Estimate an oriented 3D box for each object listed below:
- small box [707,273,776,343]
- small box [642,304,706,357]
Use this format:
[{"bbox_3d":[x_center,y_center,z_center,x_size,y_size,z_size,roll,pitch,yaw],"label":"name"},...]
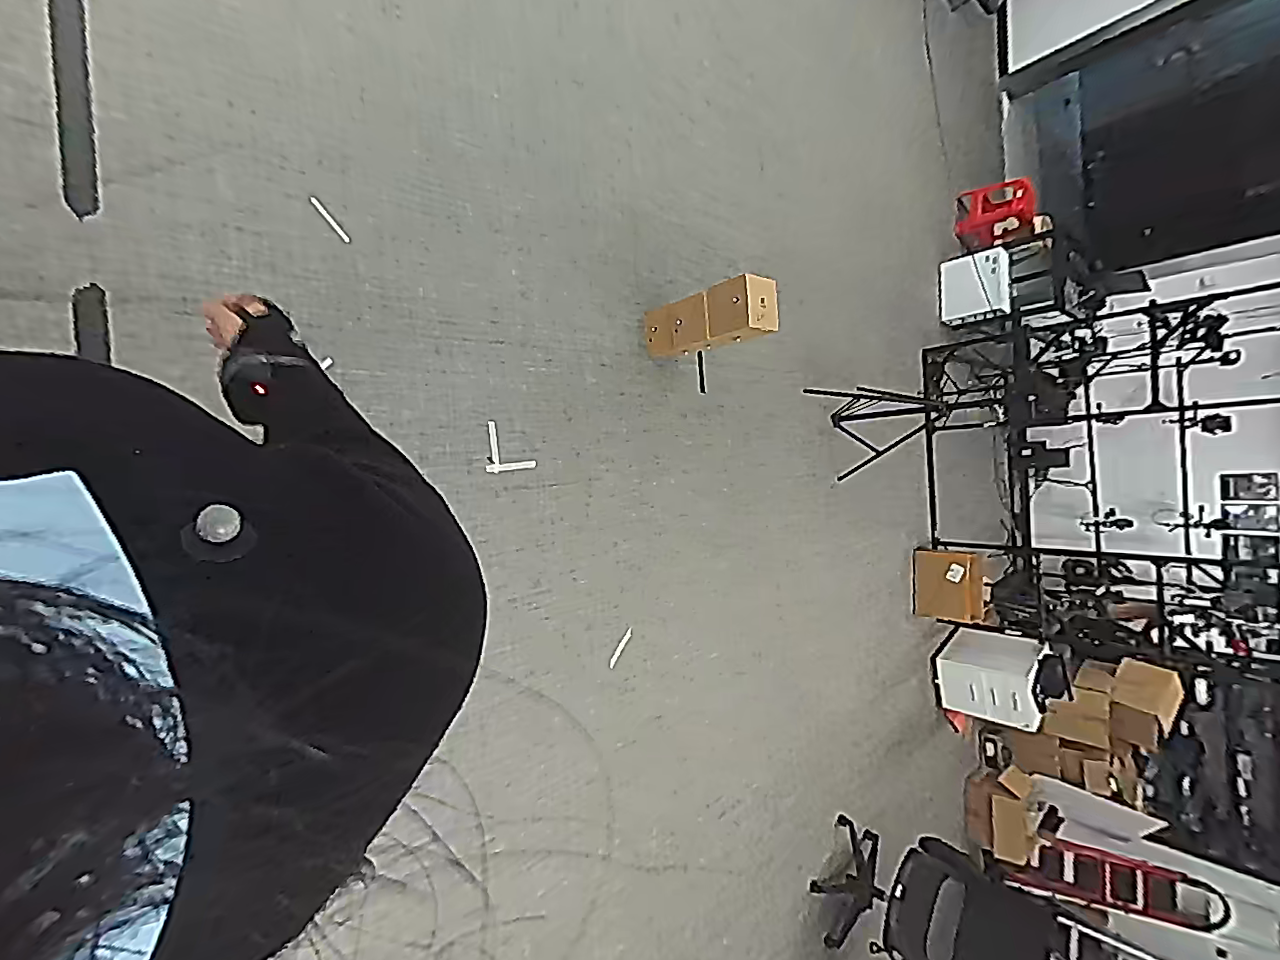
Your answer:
[{"bbox_3d":[0.342,-0.580,1.841,0.168,0.176,0.179,-6,93,-41],"label":"small box"},{"bbox_3d":[0.131,-0.574,2.094,0.179,0.176,0.168,-13,97,-41],"label":"small box"}]
